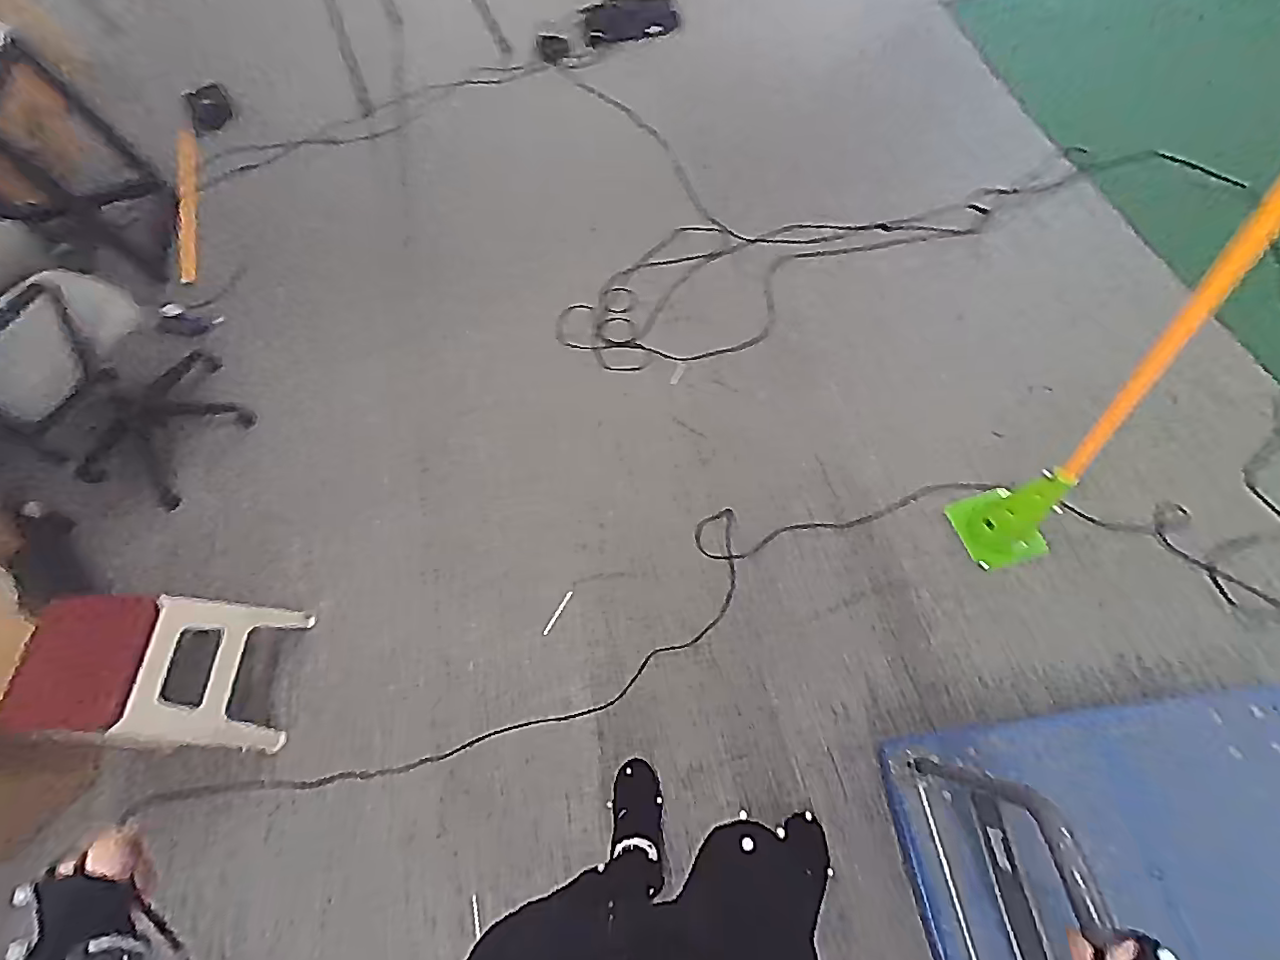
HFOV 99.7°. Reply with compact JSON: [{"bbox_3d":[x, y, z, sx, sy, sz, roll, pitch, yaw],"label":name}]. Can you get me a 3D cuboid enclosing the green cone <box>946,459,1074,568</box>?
[{"bbox_3d":[0.959,0.052,1.337,0.200,0.368,0.202,-18,63,-1],"label":"green cone"}]
